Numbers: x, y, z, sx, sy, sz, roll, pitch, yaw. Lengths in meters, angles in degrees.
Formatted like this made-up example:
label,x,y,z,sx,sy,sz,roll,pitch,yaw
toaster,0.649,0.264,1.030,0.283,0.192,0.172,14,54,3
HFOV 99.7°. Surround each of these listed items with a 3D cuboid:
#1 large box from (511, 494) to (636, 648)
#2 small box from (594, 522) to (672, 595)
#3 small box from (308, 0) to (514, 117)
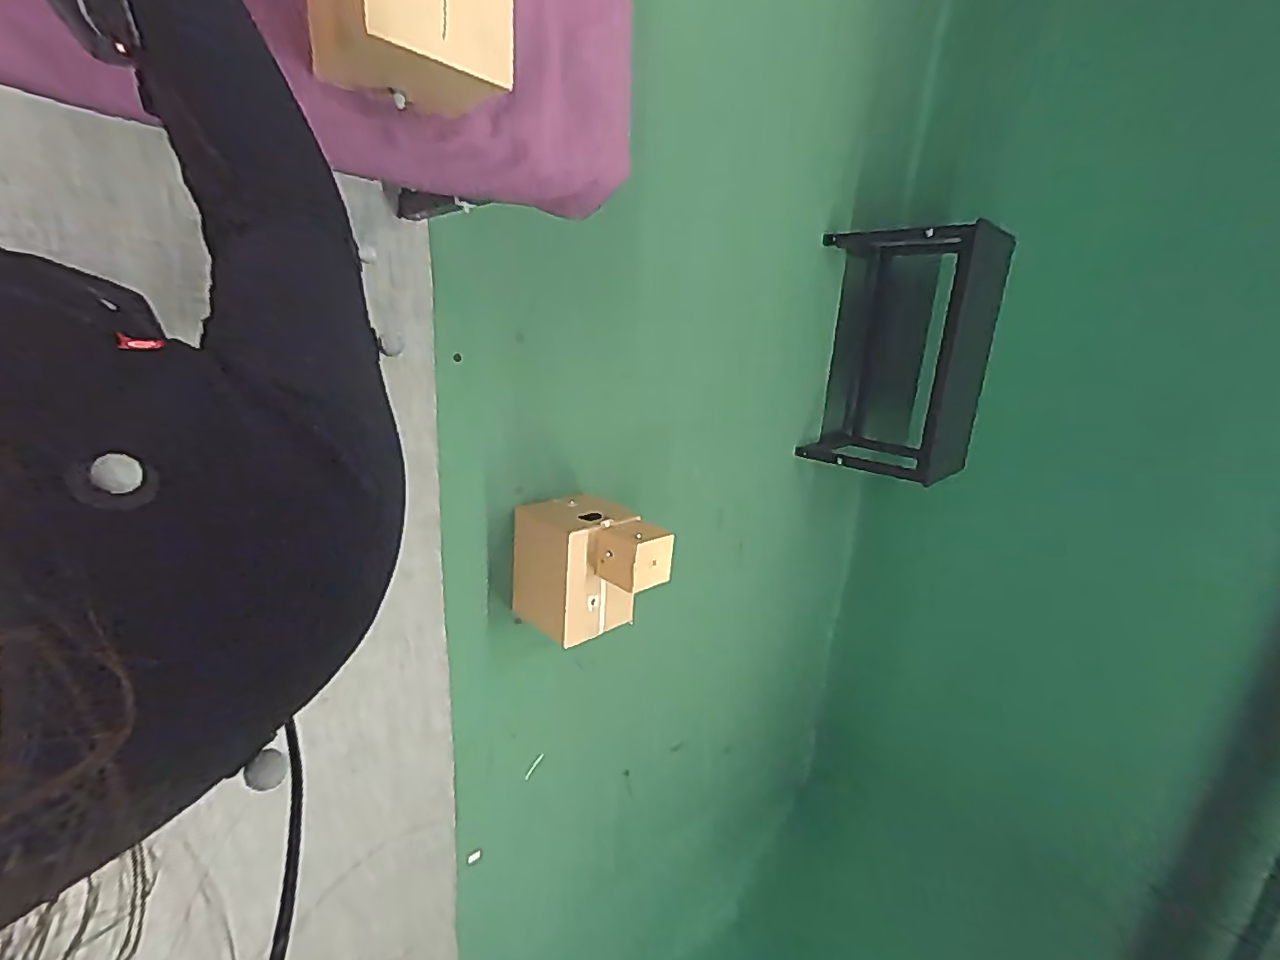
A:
label,x,y,z,sx,sy,sz,roll,pitch,yaw
large box,-0.239,0.297,1.889,0.320,0.320,0.408,-10,111,-44
small box,-0.023,0.244,1.736,0.179,0.176,0.168,-10,111,-45
small box,-0.256,-0.540,0.598,0.168,0.176,0.179,-11,112,-44
